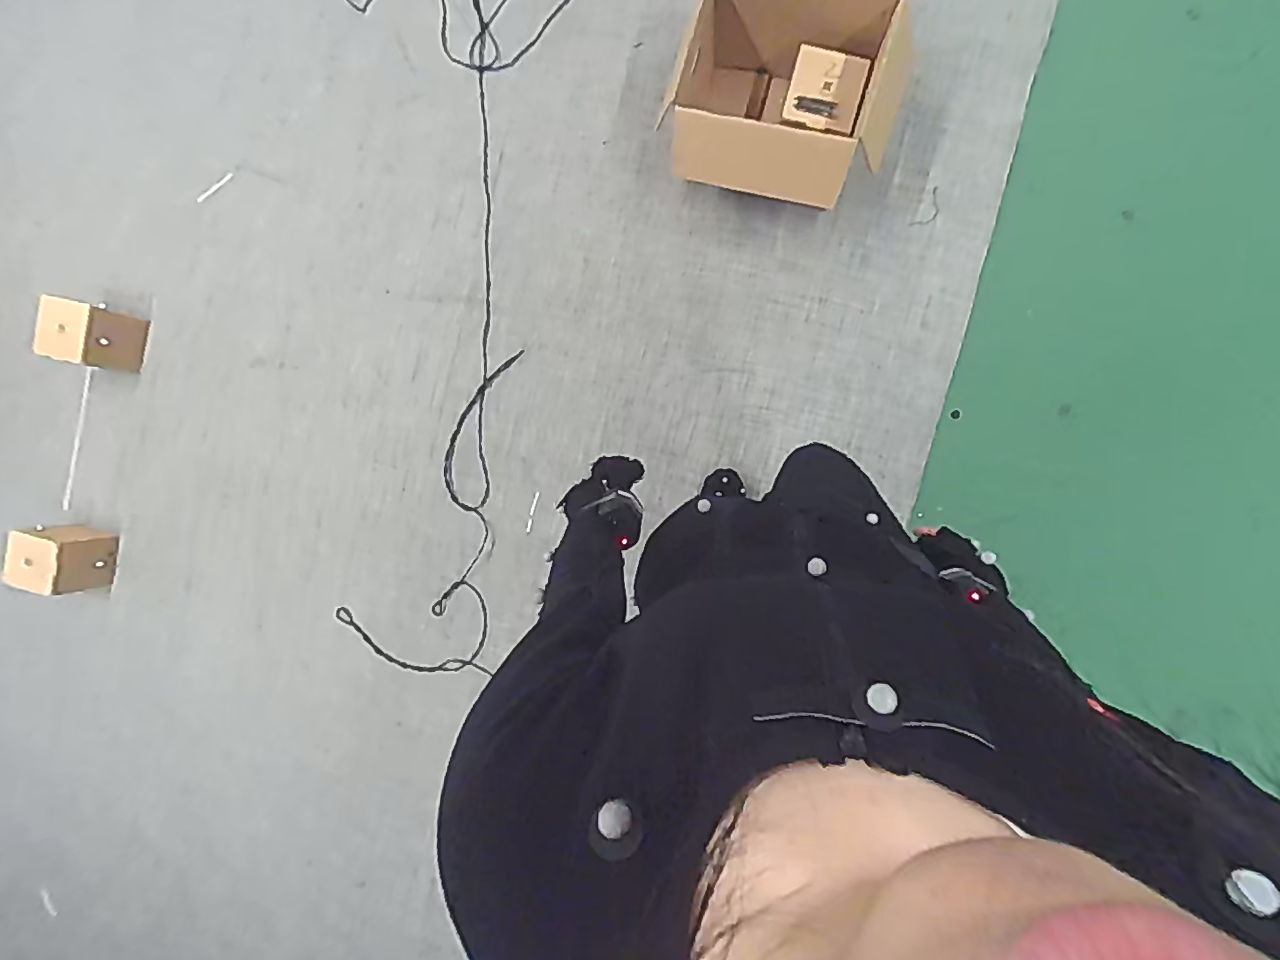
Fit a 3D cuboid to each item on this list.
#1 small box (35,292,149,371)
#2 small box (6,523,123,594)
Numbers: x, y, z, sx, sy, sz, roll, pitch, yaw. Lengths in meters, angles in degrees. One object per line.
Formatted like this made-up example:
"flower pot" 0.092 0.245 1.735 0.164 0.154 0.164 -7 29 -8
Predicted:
"small box" -1.627 -0.437 1.614 0.168 0.176 0.179 13 95 6
"small box" -1.761 0.233 1.660 0.179 0.176 0.168 13 94 7
